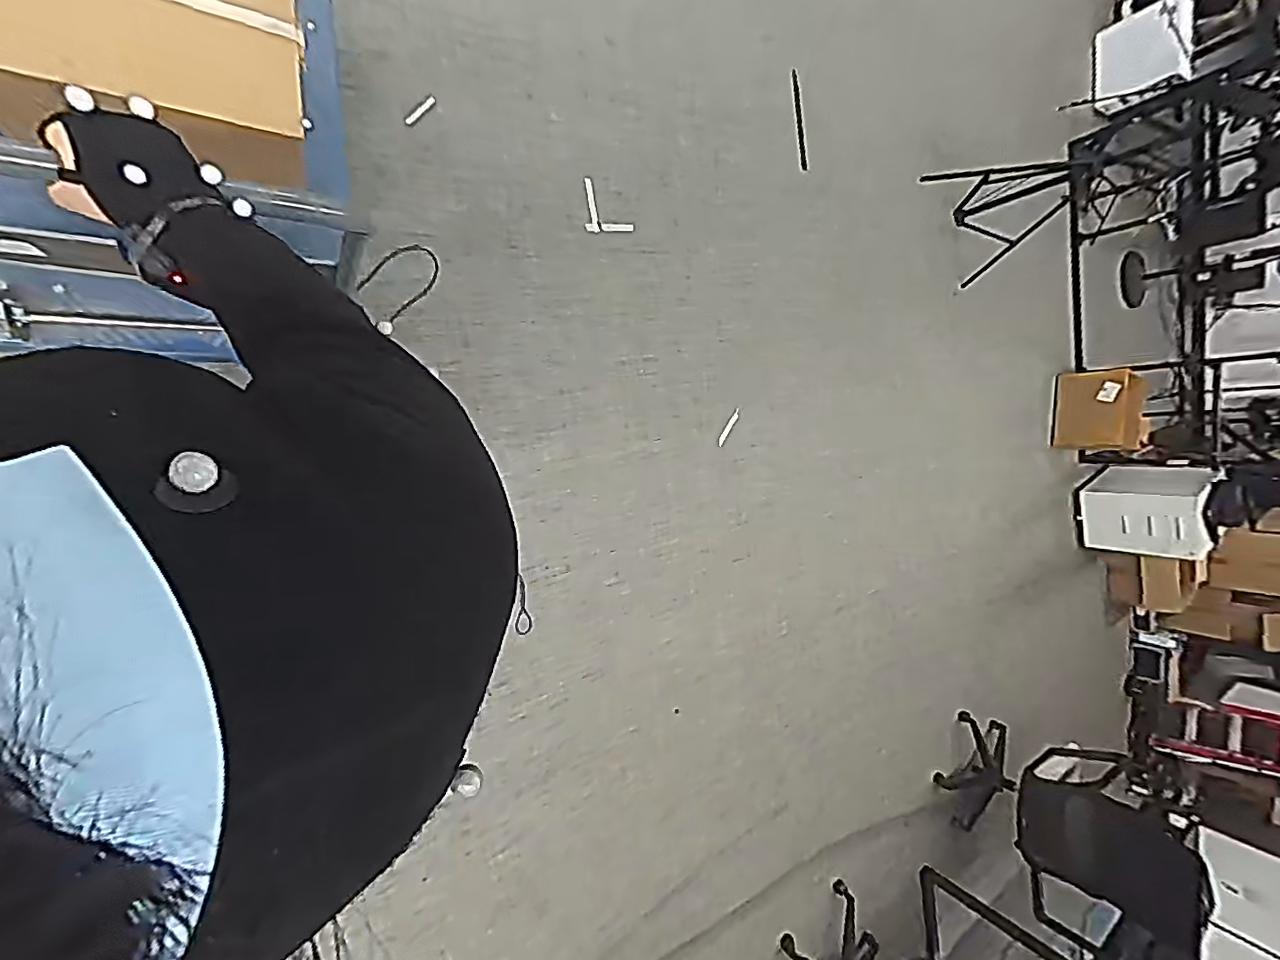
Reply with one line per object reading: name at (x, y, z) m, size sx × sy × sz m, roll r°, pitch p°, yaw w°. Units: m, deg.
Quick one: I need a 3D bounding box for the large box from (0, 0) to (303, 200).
large box at (-0.804, -0.705, 0.888) m, size 0.408 × 0.320 × 0.320 m, roll -4°, pitch 94°, yaw -31°
